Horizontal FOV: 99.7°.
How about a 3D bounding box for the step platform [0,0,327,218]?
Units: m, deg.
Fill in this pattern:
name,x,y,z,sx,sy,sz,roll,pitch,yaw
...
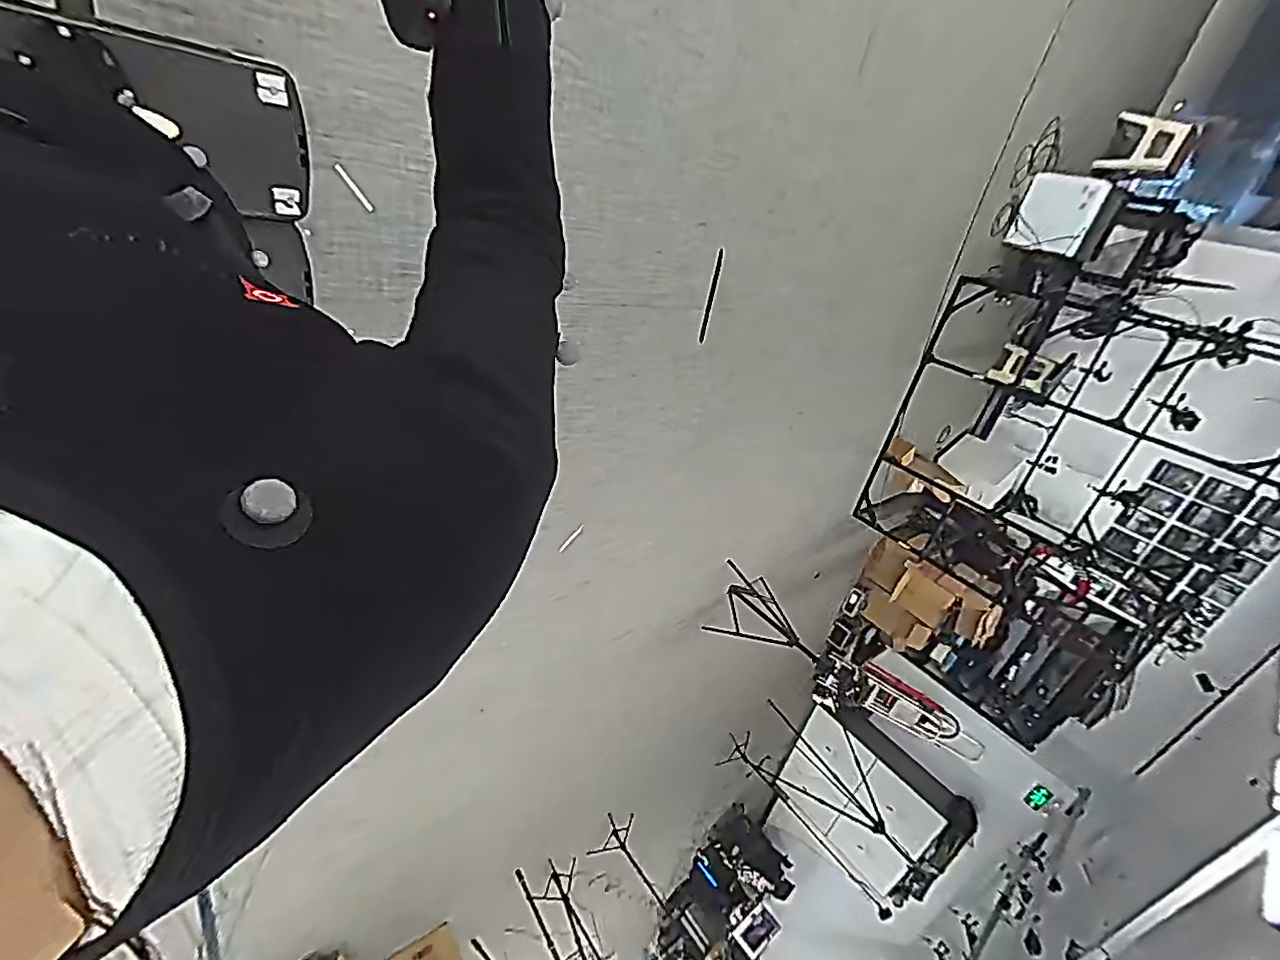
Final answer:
name,x,y,z,sx,sy,sz,roll,pitch,yaw
step platform,-0.966,-0.672,0.986,0.684,0.204,0.286,-15,129,-39
